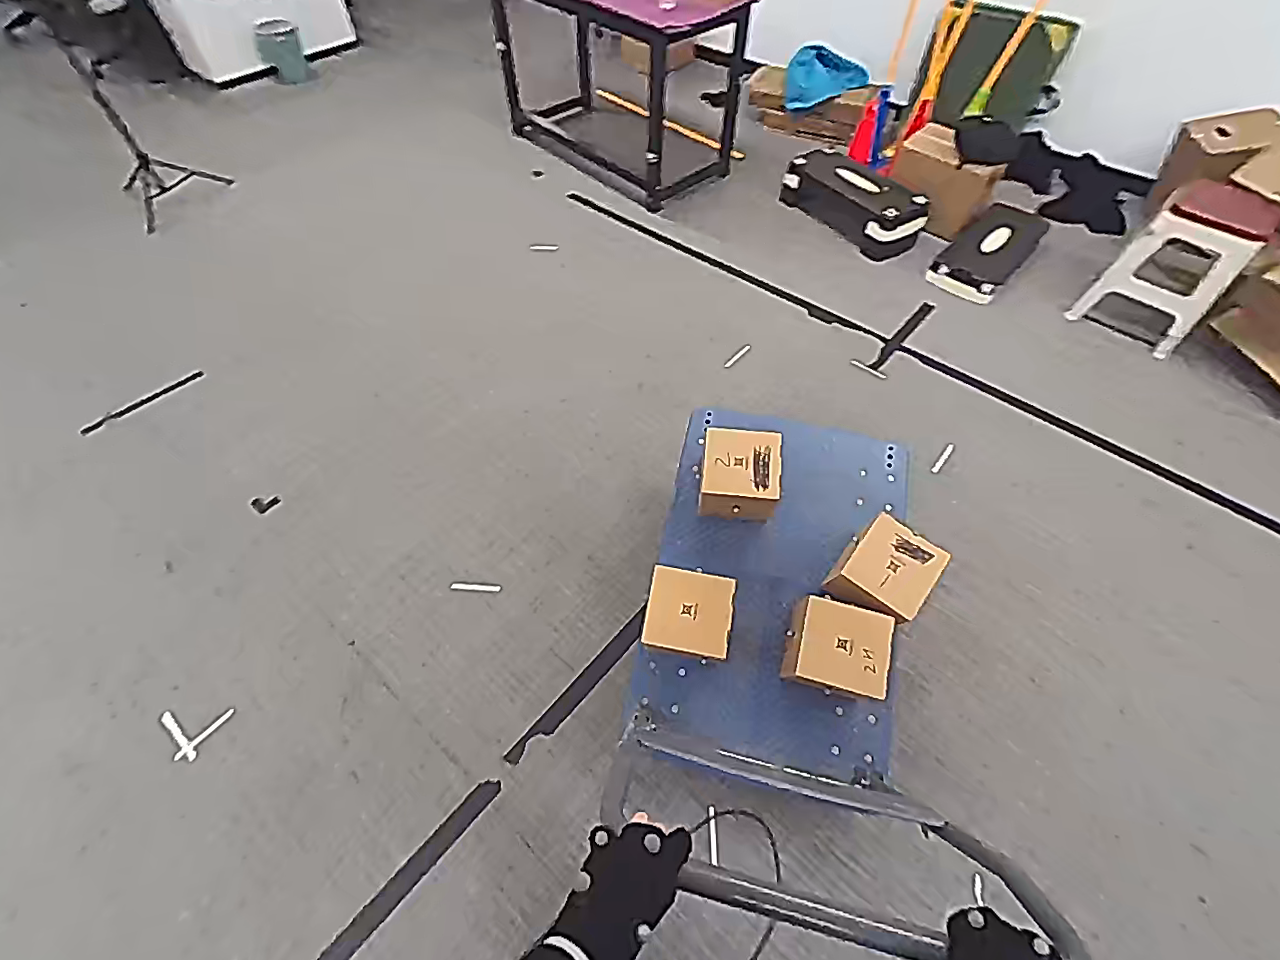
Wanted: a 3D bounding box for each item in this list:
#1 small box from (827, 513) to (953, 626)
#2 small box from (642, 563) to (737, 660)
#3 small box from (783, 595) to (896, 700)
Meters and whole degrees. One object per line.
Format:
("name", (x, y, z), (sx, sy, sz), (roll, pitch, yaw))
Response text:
("small box", (0.543, 0.207, 1.201), (0.168, 0.176, 0.179), (37, 76, 16))
("small box", (0.107, 0.295, 1.193), (0.179, 0.176, 0.168), (10, 69, 6))
("small box", (0.415, 0.359, 1.148), (0.179, 0.176, 0.168), (15, 71, 9))
